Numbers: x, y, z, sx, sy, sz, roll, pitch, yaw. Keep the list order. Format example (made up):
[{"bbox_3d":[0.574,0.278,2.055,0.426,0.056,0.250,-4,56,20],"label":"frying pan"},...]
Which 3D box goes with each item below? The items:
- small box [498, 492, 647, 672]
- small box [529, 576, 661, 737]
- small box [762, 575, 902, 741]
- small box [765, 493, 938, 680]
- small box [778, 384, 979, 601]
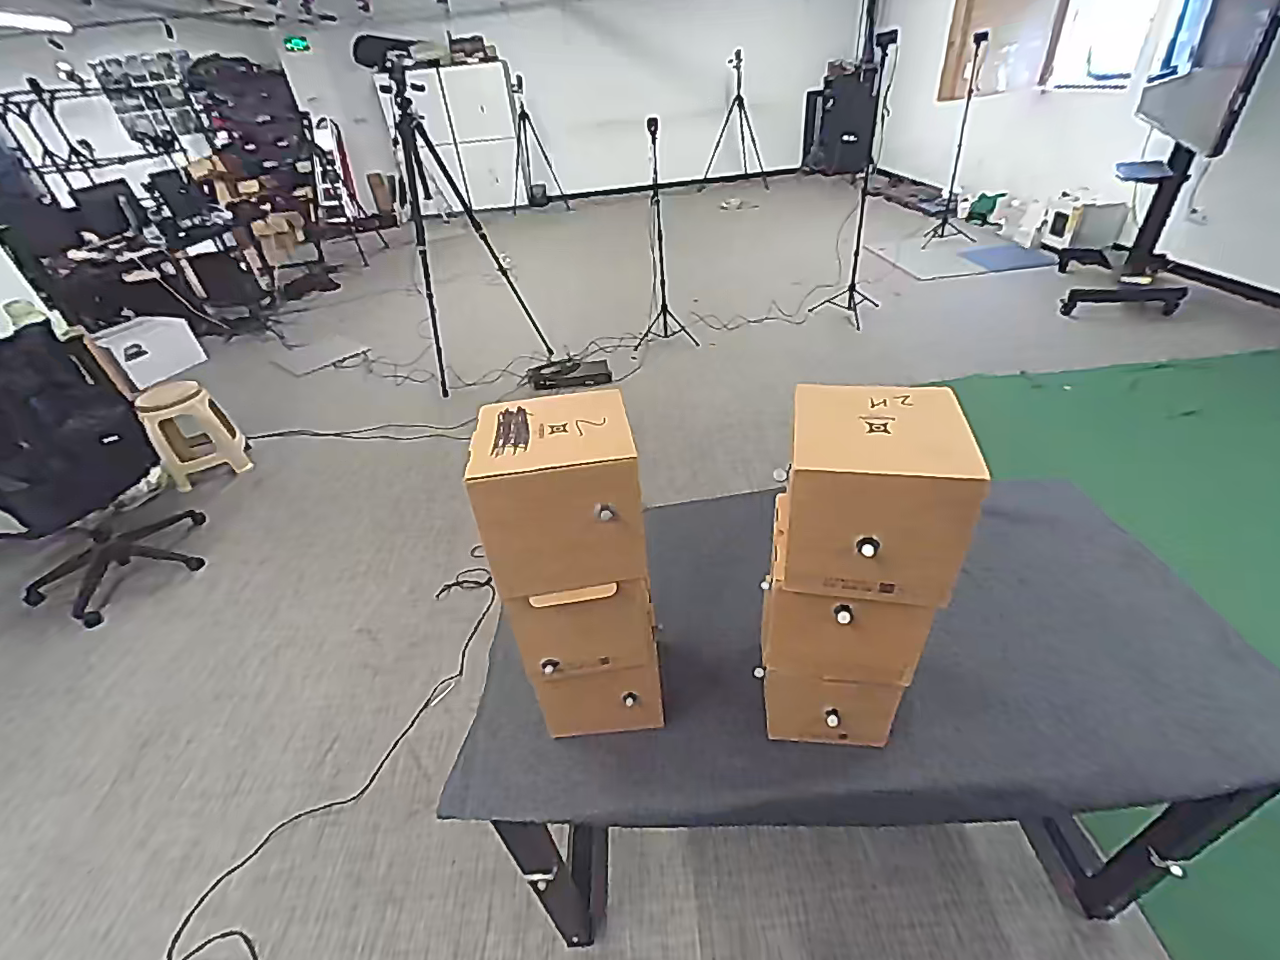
[{"bbox_3d":[-0.086,0.143,0.744,0.168,0.176,0.179,-9,34,-3],"label":"small box"},{"bbox_3d":[-0.060,0.274,0.841,0.179,0.176,0.168,-7,35,1],"label":"small box"},{"bbox_3d":[0.269,0.261,0.799,0.168,0.176,0.179,-1,37,9],"label":"small box"},{"bbox_3d":[0.256,0.135,0.696,0.179,0.176,0.168,2,37,14],"label":"small box"},{"bbox_3d":[0.241,0.010,0.589,0.168,0.176,0.179,3,37,15],"label":"small box"}]
